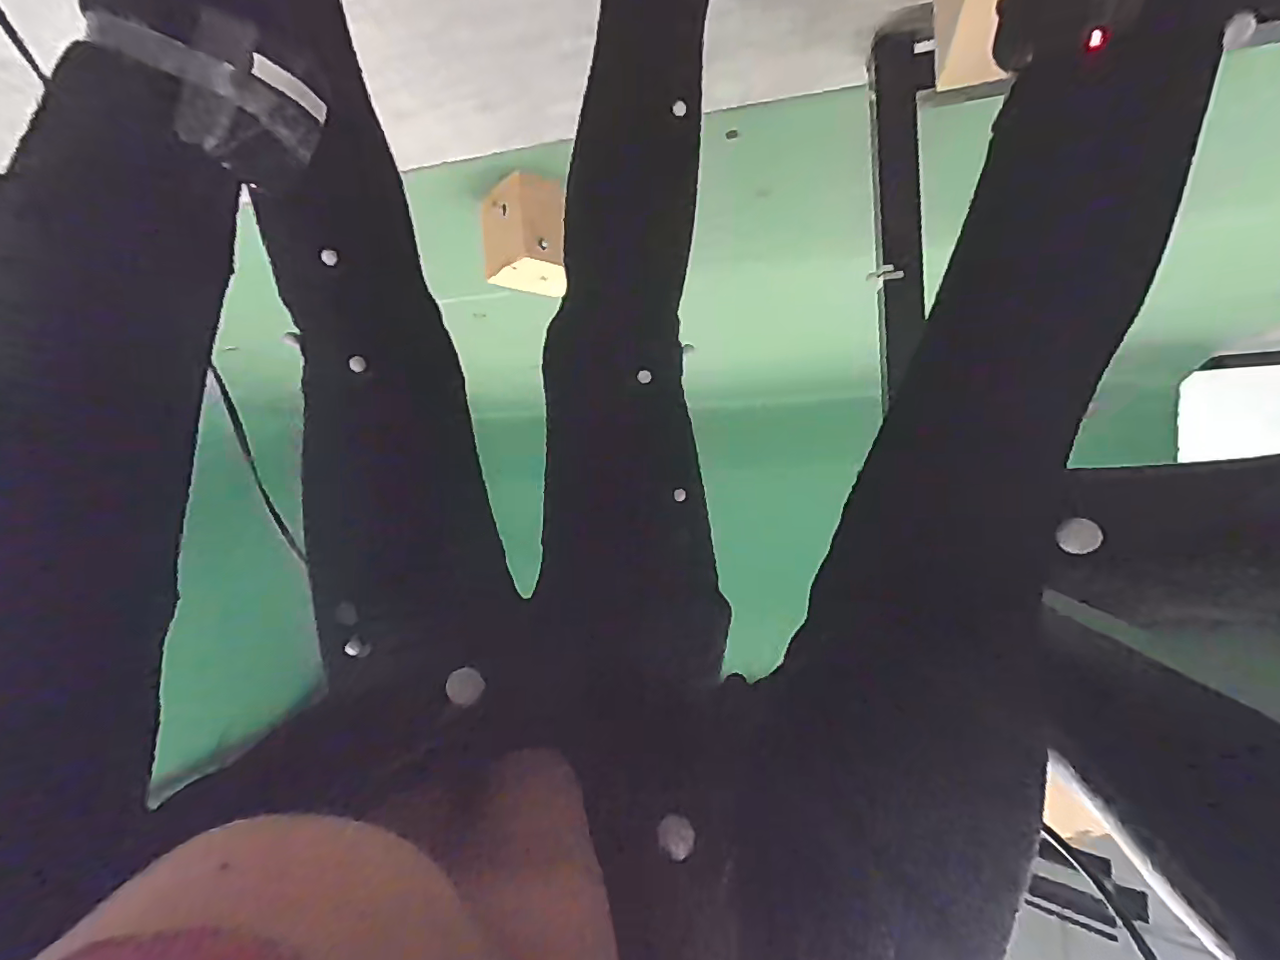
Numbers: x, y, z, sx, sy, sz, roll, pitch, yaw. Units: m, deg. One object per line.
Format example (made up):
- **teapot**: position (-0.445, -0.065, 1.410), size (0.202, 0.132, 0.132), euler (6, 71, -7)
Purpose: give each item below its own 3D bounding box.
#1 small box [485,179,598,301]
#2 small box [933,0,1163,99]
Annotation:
- **small box**: position (-0.204, -0.487, 1.116), size (0.179, 0.176, 0.168), euler (-2, 180, -41)
- **small box**: position (0.379, -0.506, 0.497), size (0.179, 0.176, 0.168), euler (-2, -179, 19)
